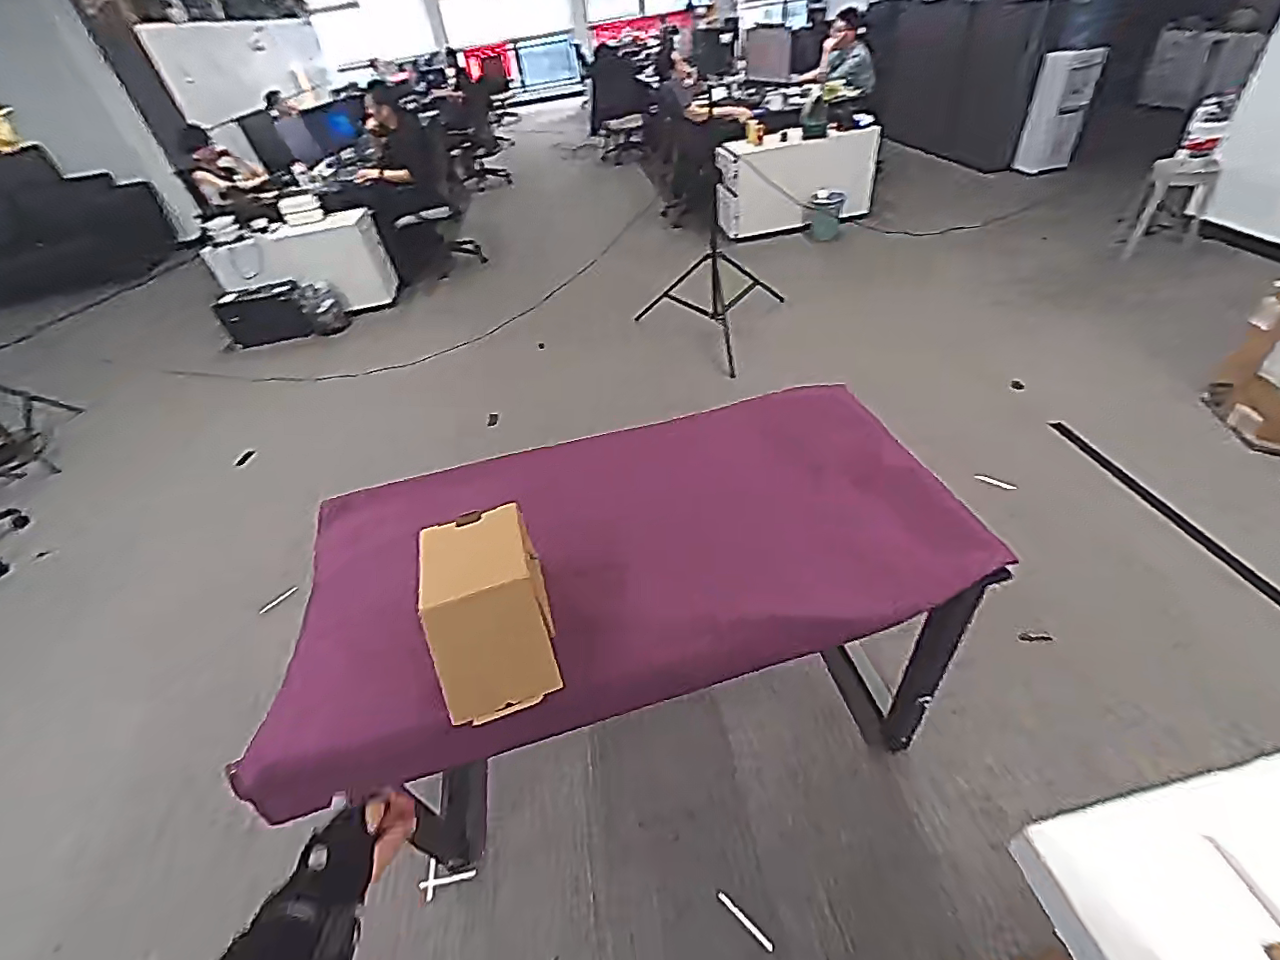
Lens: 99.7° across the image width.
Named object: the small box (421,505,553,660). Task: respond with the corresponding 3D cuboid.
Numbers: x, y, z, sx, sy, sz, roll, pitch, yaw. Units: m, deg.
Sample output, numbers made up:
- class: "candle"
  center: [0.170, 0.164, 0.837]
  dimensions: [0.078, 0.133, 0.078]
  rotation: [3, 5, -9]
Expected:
- class: "small box"
  center: [-0.252, 0.177, 0.906]
  dimensions: [0.168, 0.176, 0.179]
  rotation: [-16, 40, -8]
